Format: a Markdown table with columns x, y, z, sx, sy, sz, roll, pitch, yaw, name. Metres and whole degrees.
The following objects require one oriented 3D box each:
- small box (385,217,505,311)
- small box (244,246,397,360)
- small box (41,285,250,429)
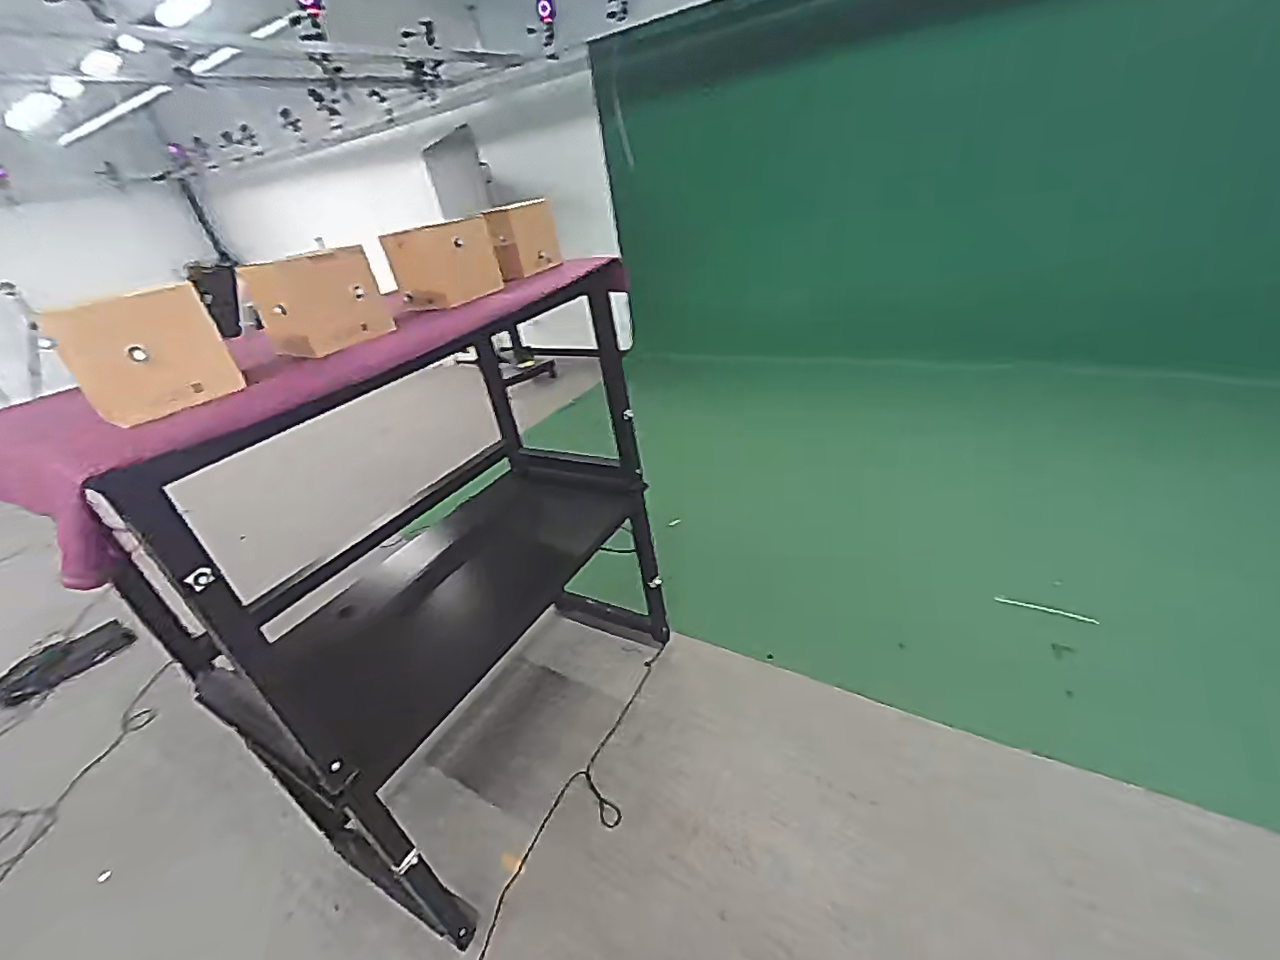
| x | y | z | sx | sy | sz | roll | pitch | yaw | name |
| --- | --- | --- | --- | --- | --- | --- | --- | --- | --- |
| -0.442 | -0.494 | 1.252 | 0.168 | 0.176 | 0.179 | 8 | 34 | 31 | small box |
| -0.601 | -0.336 | 1.034 | 0.179 | 0.176 | 0.168 | 13 | 37 | 36 | small box |
| -0.745 | -0.190 | 0.828 | 0.179 | 0.176 | 0.168 | 14 | 38 | 36 | small box |
